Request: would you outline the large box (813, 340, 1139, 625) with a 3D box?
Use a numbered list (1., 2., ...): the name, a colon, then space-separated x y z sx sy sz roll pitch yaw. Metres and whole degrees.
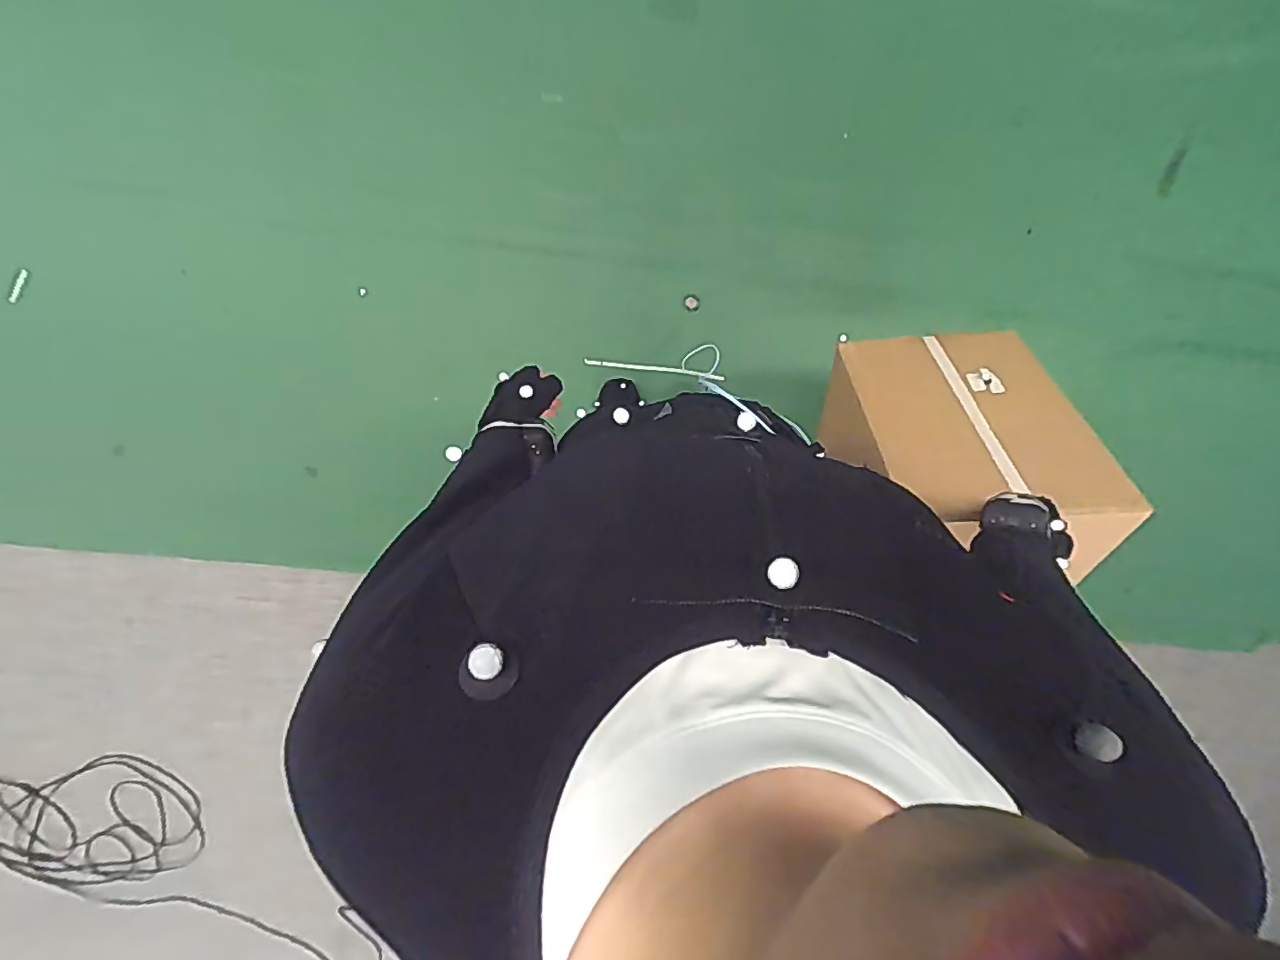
1. large box: 0.524 0.003 0.963 0.320 0.408 0.320 -2 138 3
